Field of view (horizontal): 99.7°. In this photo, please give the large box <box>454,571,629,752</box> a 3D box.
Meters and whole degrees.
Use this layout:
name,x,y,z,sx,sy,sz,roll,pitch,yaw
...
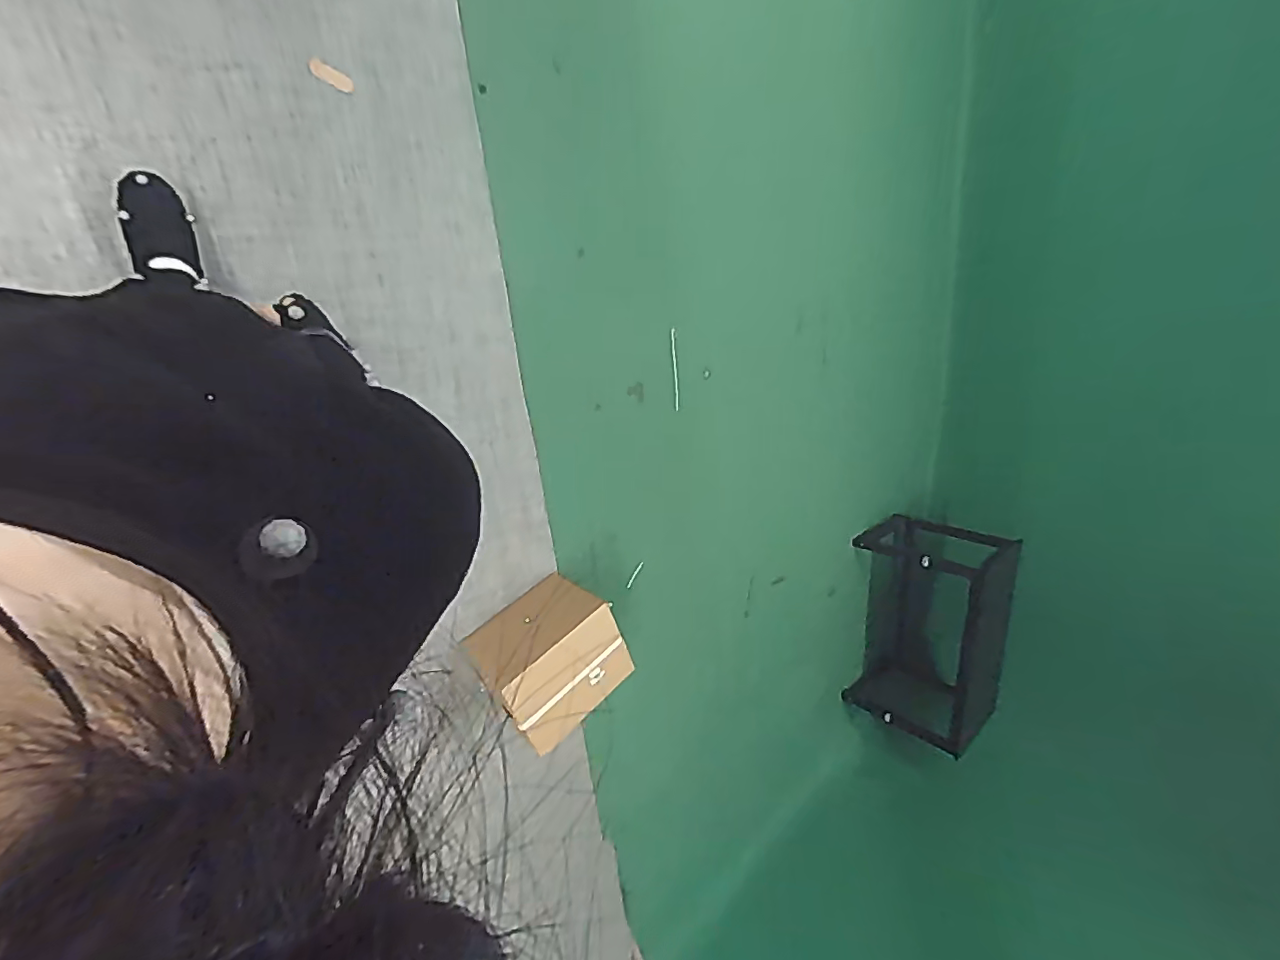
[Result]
name,x,y,z,sx,sy,sz,roll,pitch,yaw
large box,-0.313,0.567,1.759,0.408,0.320,0.320,-36,124,-31
